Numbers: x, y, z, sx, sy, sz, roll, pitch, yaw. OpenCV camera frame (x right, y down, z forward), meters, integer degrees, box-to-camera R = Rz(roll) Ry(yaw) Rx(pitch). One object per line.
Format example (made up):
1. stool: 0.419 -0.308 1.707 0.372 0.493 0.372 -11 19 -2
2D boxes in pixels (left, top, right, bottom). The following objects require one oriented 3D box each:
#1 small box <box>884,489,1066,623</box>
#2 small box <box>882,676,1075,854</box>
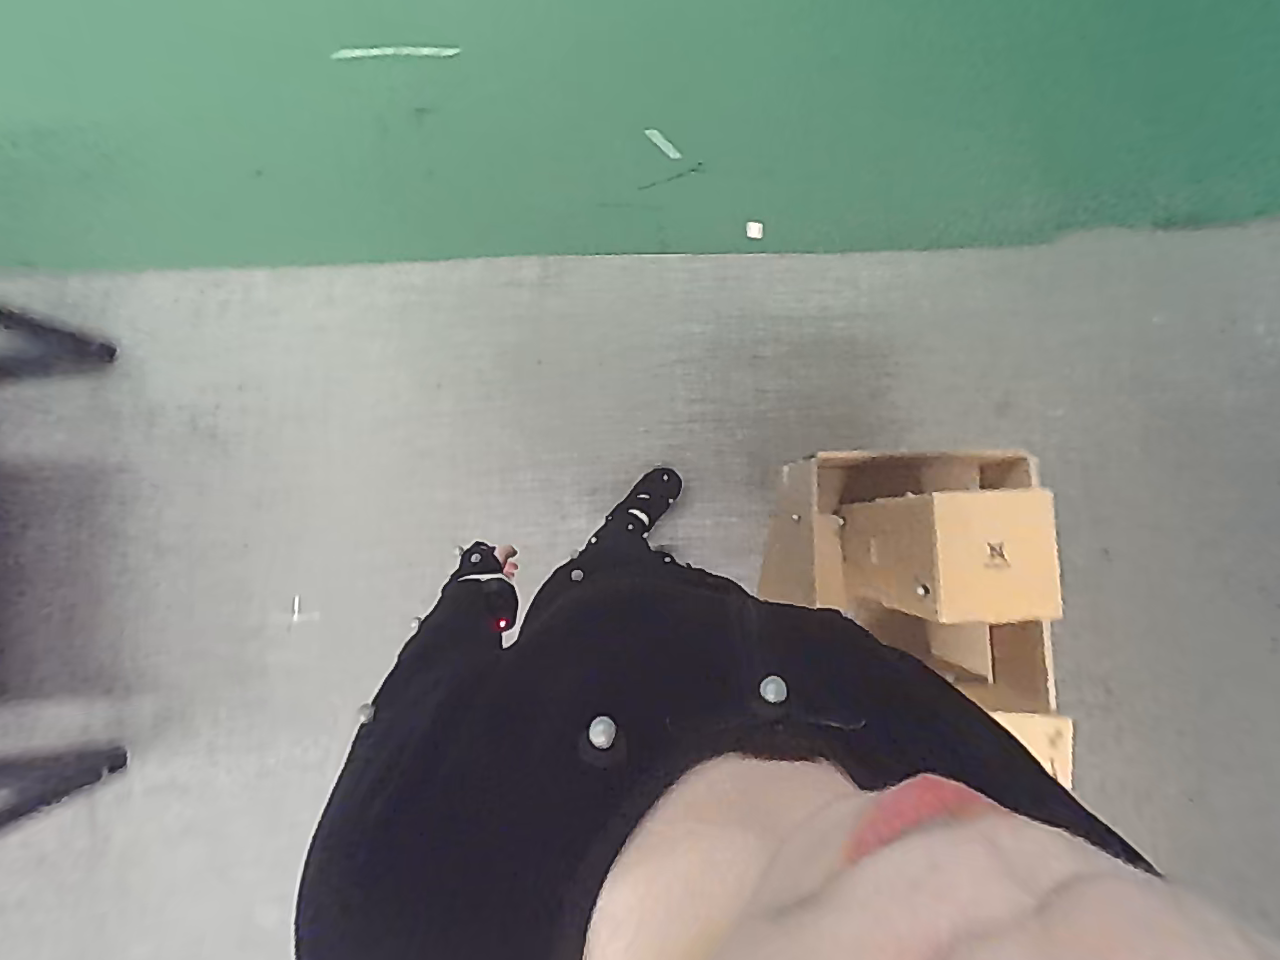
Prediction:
1. small box: 0.476 0.106 0.794 0.168 0.176 0.179 -1 87 0
2. small box: 0.466 0.388 0.769 0.179 0.176 0.168 6 86 1
